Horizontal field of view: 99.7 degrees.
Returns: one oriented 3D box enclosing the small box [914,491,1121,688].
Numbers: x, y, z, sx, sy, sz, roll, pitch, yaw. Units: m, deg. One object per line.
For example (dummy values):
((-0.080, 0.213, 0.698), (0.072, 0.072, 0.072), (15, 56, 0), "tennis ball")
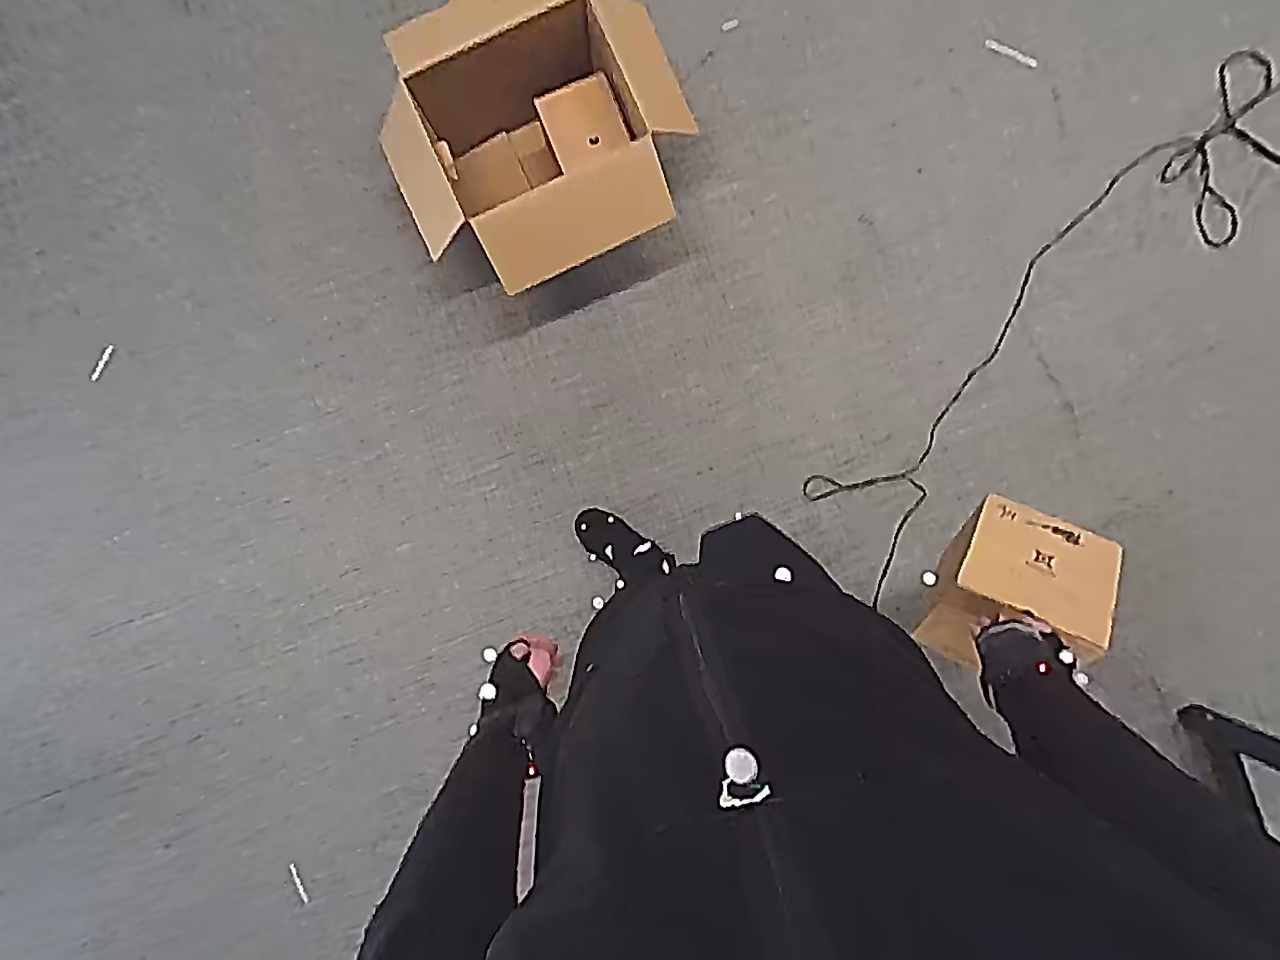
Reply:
((0.511, 0.156, 0.753), (0.168, 0.176, 0.179), (29, 58, 22), "small box")
